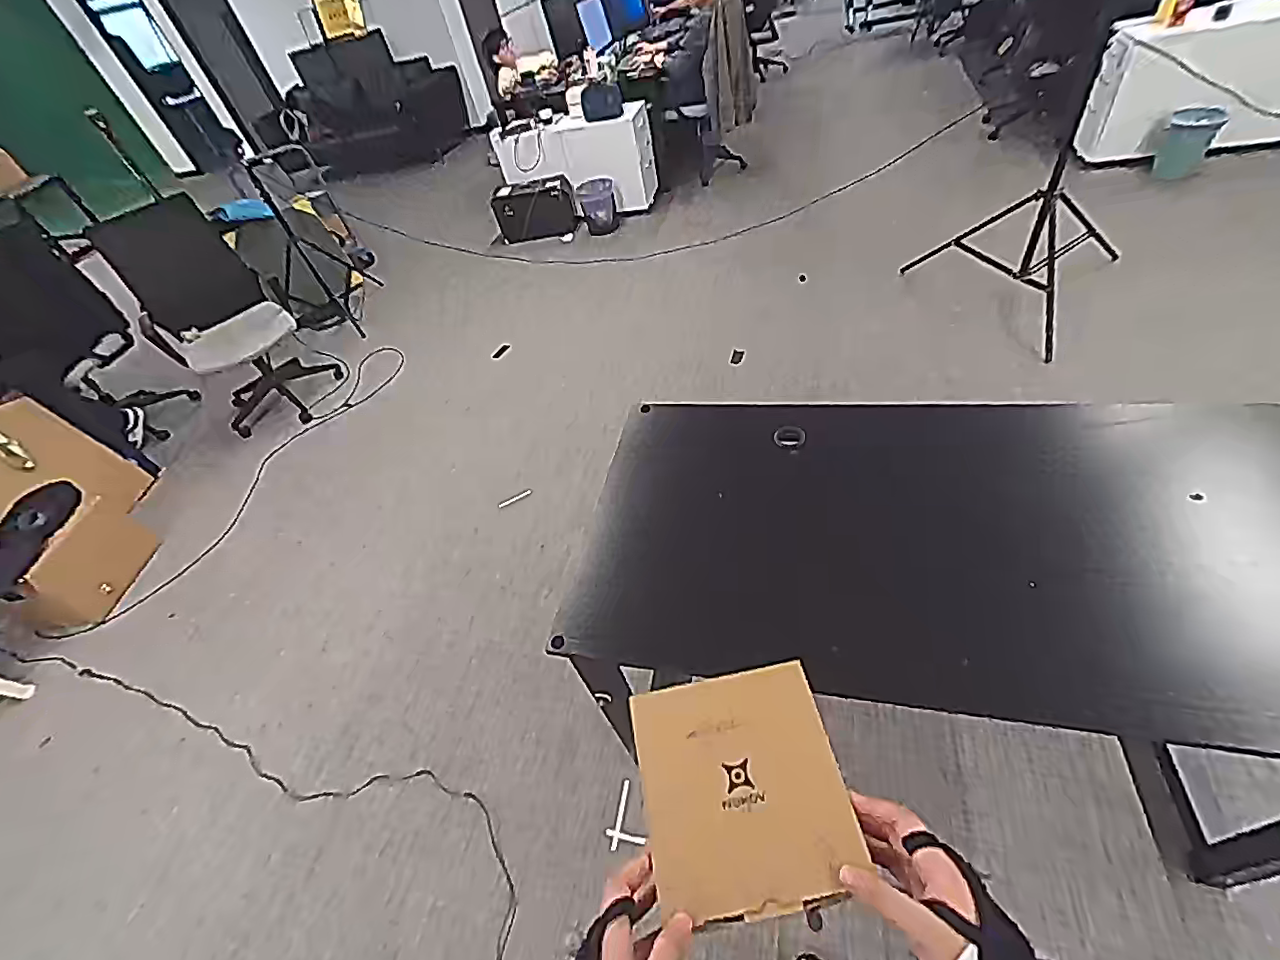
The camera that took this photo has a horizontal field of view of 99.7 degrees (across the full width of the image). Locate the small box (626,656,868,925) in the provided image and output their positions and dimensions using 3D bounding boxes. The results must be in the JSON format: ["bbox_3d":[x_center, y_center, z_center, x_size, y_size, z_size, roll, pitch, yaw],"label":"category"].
[{"bbox_3d":[0.090,0.296,0.513,0.168,0.176,0.179,-12,48,-1],"label":"small box"}]
